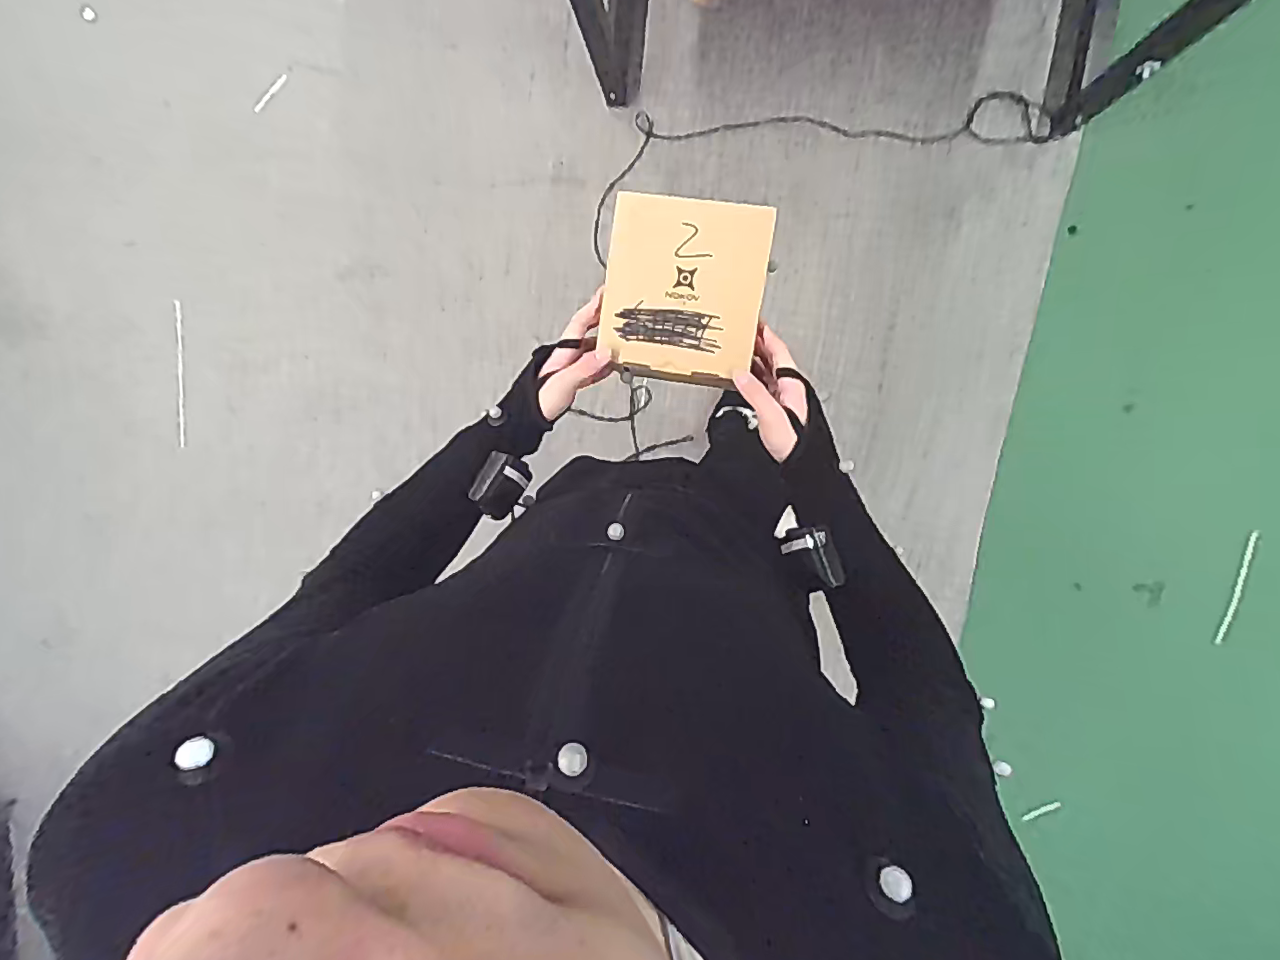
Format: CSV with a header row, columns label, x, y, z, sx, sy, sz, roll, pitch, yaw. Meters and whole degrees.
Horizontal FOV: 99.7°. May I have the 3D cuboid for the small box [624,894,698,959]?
label,x,y,z,sx,sy,sz,roll,pitch,yaw
small box,0.047,1.175,1.331,0.168,0.176,0.179,11,101,6
